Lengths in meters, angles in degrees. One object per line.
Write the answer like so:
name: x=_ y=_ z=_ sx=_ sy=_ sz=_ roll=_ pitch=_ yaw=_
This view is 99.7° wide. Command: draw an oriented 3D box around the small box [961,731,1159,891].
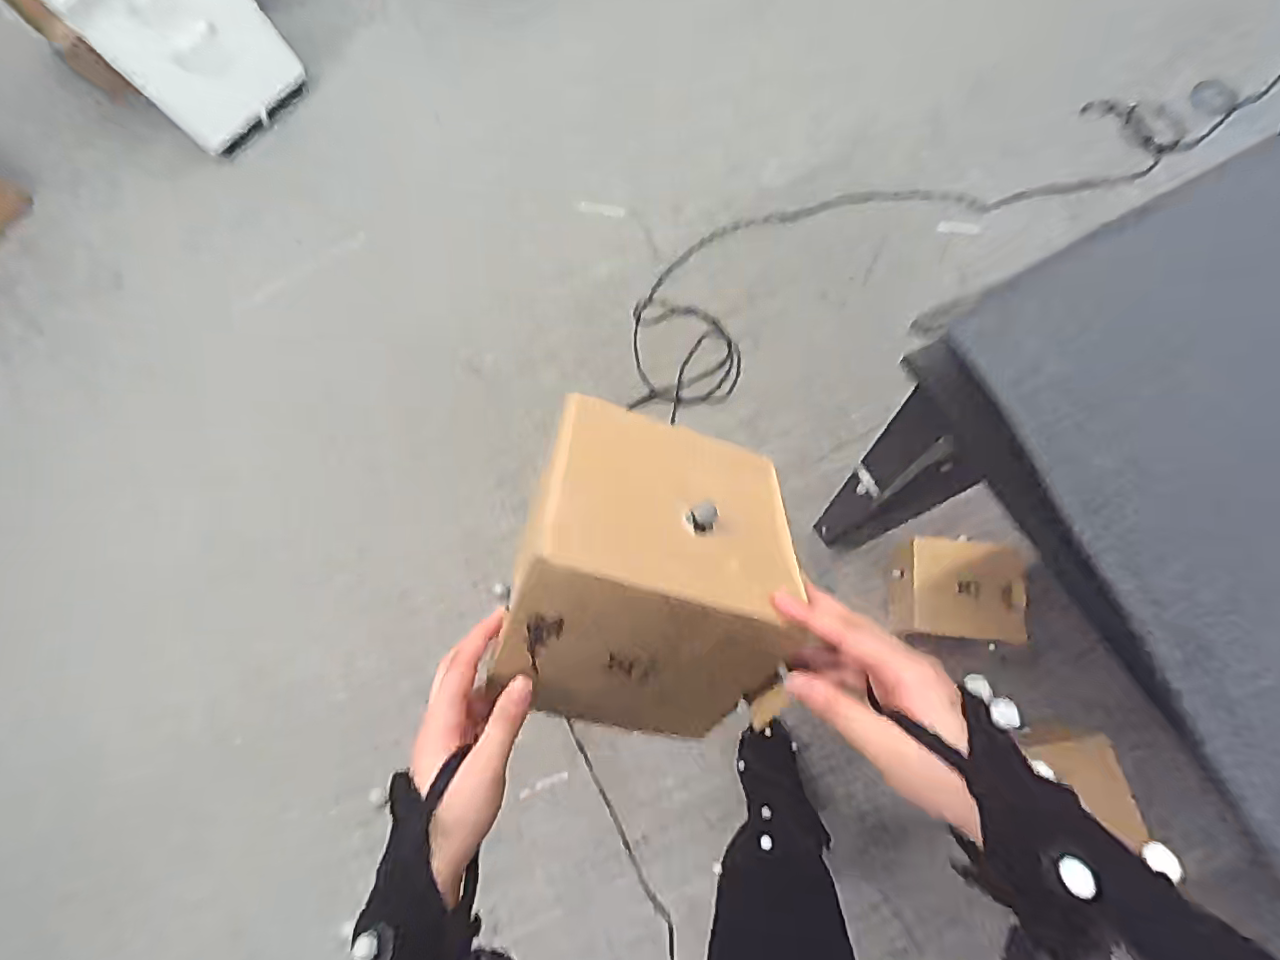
small box: x=0.667 y=0.529 z=0.886 sx=0.168 sy=0.176 sz=0.179 roll=-14 pitch=70 yaw=5

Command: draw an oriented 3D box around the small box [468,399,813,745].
small box: x=-0.005 y=0.066 z=0.402 sx=0.179 sy=0.168 sz=0.176 roll=19 pitch=38 yaw=-13

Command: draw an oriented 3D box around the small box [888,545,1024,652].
small box: x=0.569 y=0.222 z=0.999 sx=0.179 sy=0.176 sz=0.168 roll=4 pitch=74 yaw=10
